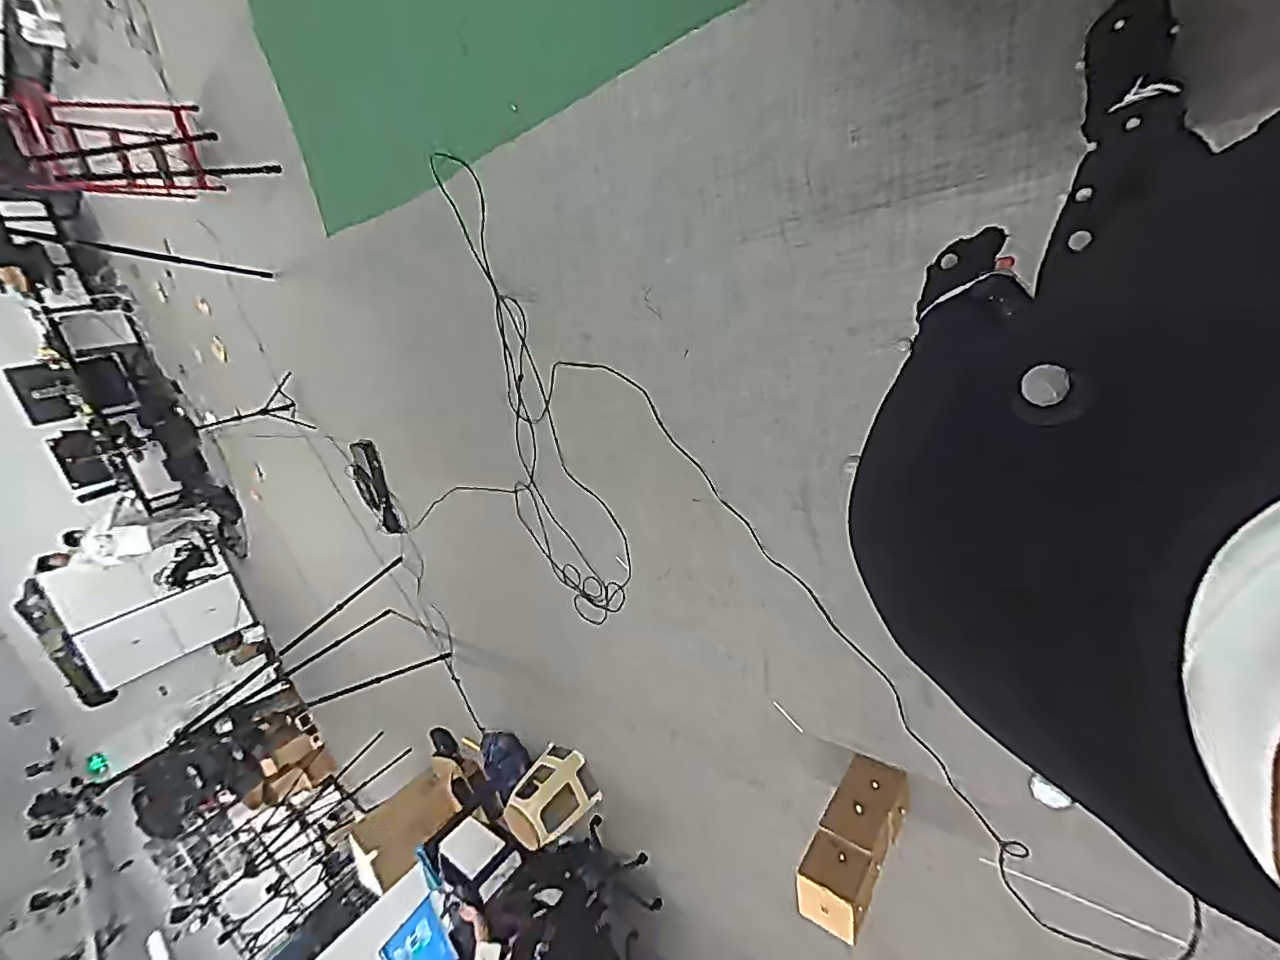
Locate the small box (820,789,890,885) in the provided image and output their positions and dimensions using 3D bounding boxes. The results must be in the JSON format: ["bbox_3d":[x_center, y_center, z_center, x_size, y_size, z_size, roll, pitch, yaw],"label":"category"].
[{"bbox_3d":[0.686,1.141,1.721,0.168,0.176,0.179,8,115,39],"label":"small box"}]

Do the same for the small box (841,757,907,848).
[{"bbox_3d":[0.794,1.084,1.832,0.179,0.176,0.168,7,115,39],"label":"small box"}]

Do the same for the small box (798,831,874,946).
[{"bbox_3d":[0.587,1.206,1.610,0.168,0.176,0.179,7,115,39],"label":"small box"}]
